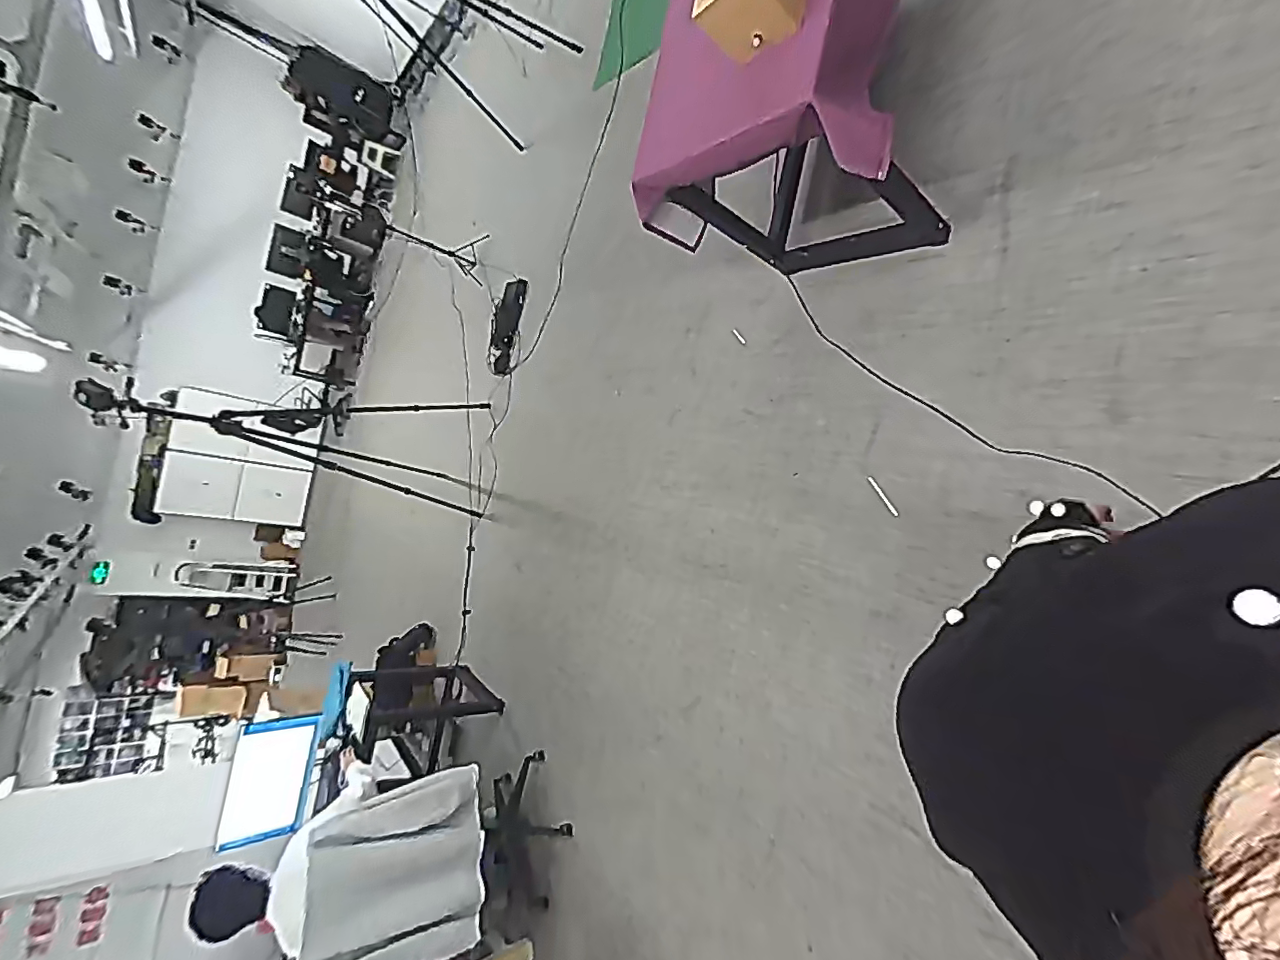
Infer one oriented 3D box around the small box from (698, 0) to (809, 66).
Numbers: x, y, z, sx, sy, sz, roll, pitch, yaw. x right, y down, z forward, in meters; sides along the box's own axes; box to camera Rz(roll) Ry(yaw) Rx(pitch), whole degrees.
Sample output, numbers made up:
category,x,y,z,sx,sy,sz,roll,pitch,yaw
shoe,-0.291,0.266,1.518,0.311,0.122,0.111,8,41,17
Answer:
category,x,y,z,sx,sy,sz,roll,pitch,yaw
small box,0.258,-1.061,1.173,0.179,0.176,0.168,13,90,51
